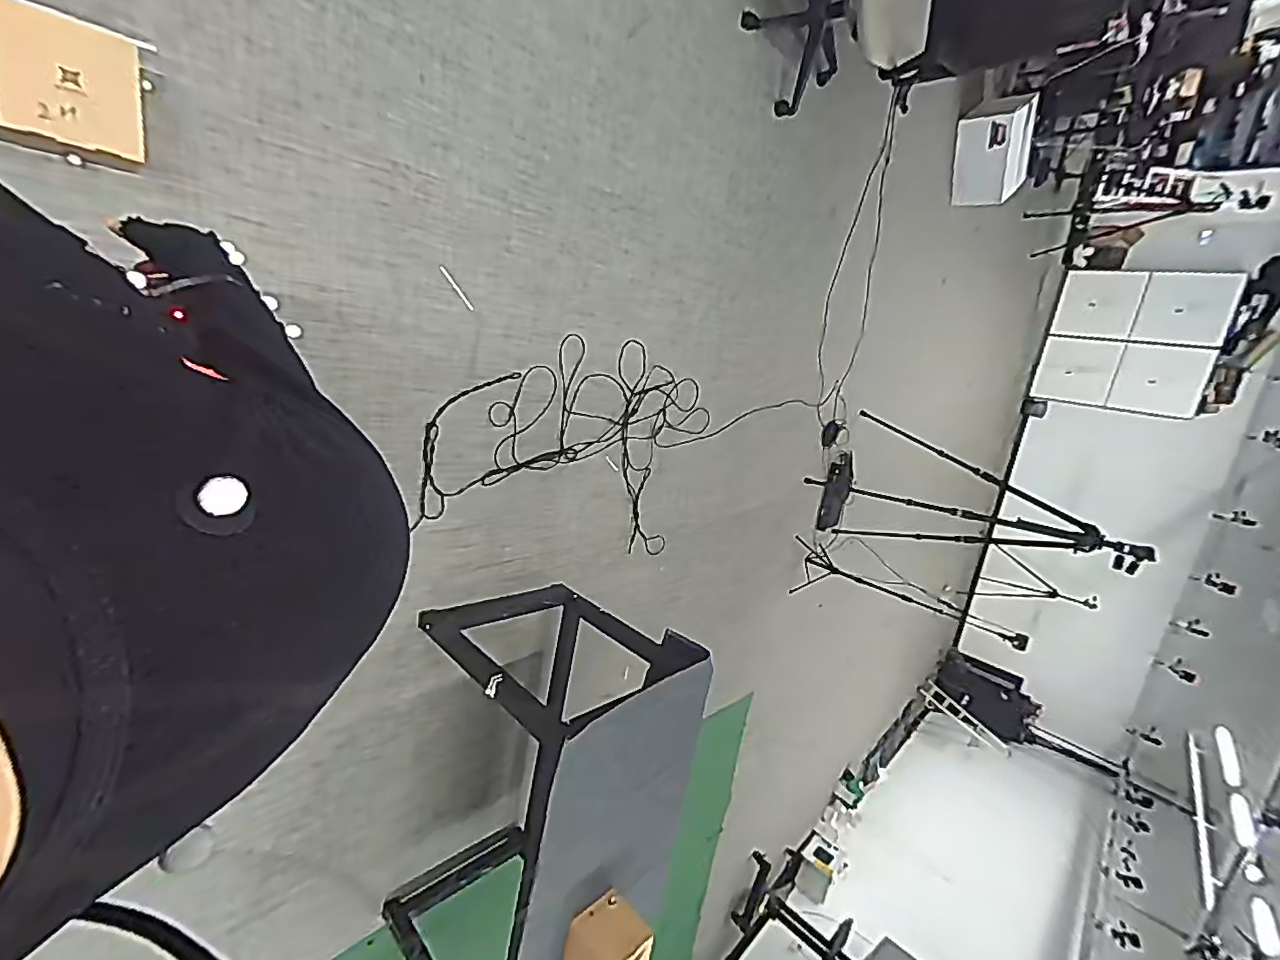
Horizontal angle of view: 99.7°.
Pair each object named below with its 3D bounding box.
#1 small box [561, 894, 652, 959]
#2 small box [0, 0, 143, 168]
[{"bbox_3d":[-0.096,1.282,1.472,0.168,0.176,0.179,0,106,-48],"label":"small box"},{"bbox_3d":[-0.934,-0.637,0.882,0.168,0.176,0.179,-6,110,-46],"label":"small box"}]
